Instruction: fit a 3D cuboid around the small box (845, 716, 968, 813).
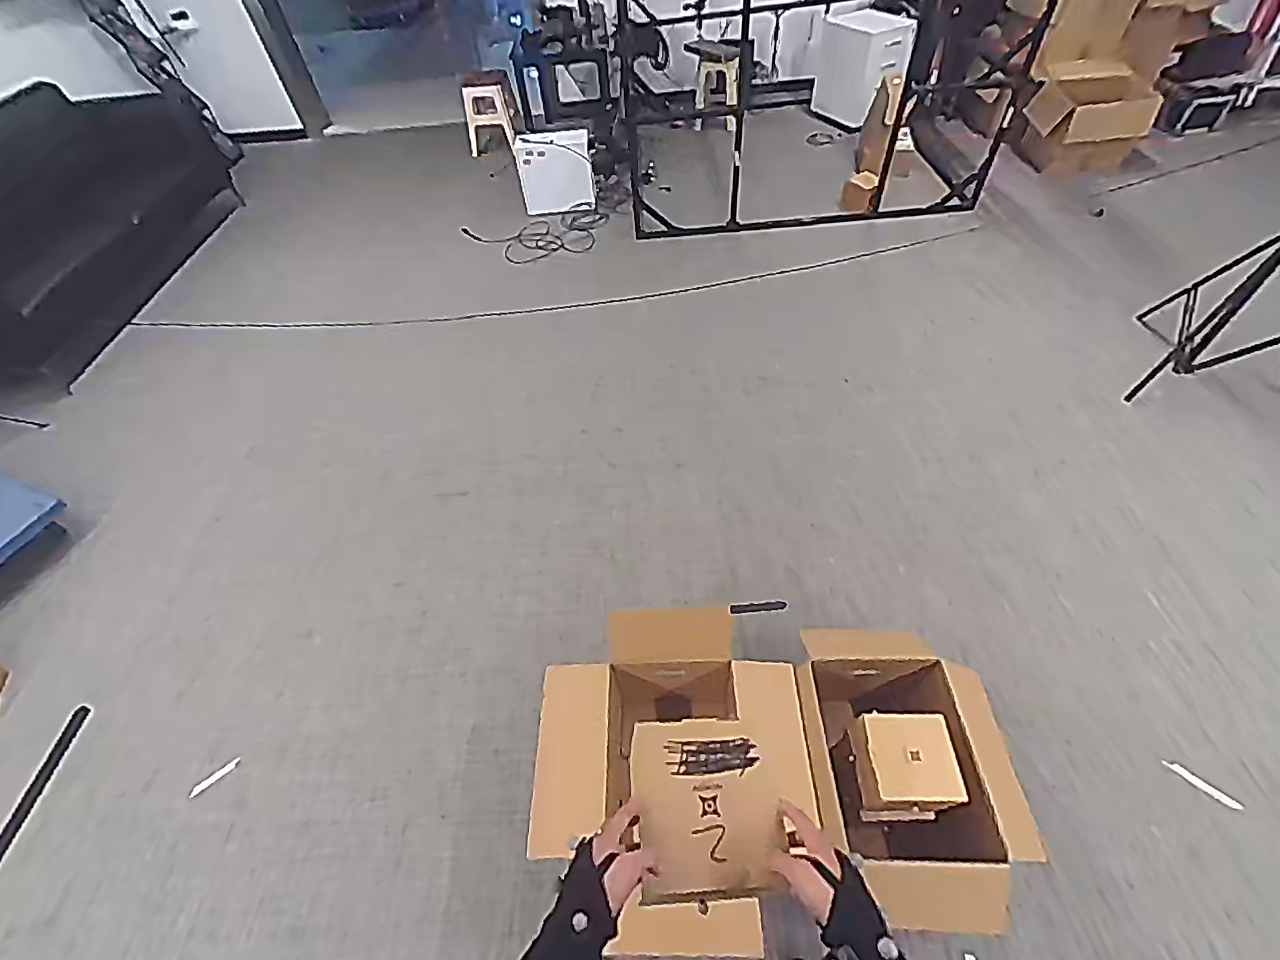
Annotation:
[{"bbox_3d":[0.573,0.625,1.187,0.179,0.176,0.168,-2,53,3],"label":"small box"}]
